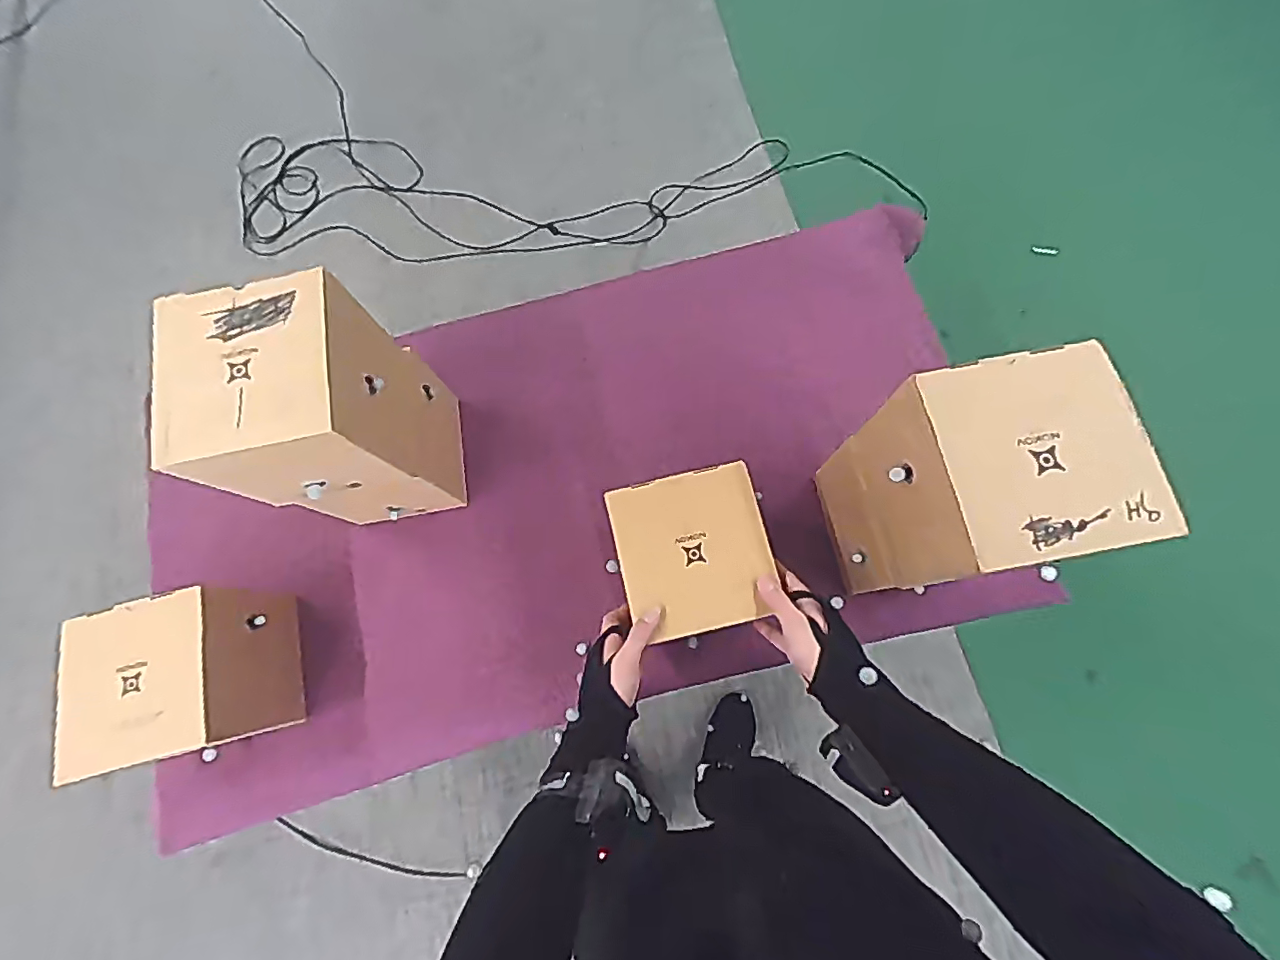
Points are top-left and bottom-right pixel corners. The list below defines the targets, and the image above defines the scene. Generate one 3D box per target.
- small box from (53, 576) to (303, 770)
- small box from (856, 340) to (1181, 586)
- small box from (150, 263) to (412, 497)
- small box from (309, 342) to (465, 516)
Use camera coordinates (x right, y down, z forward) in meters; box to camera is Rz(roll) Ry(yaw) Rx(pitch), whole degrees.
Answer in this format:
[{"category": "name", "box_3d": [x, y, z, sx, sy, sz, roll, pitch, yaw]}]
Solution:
[{"category": "small box", "box_3d": [-0.553, 0.230, 0.670, 0.168, 0.176, 0.179, -14, 75, -1]}, {"category": "small box", "box_3d": [0.329, -0.004, 0.517, 0.168, 0.176, 0.179, -10, 74, 1]}, {"category": "small box", "box_3d": [-0.362, -0.094, 0.575, 0.168, 0.176, 0.179, -11, 76, 0]}, {"category": "small box", "box_3d": [-0.350, -0.060, 0.736, 0.168, 0.176, 0.179, -9, 76, 0]}]
